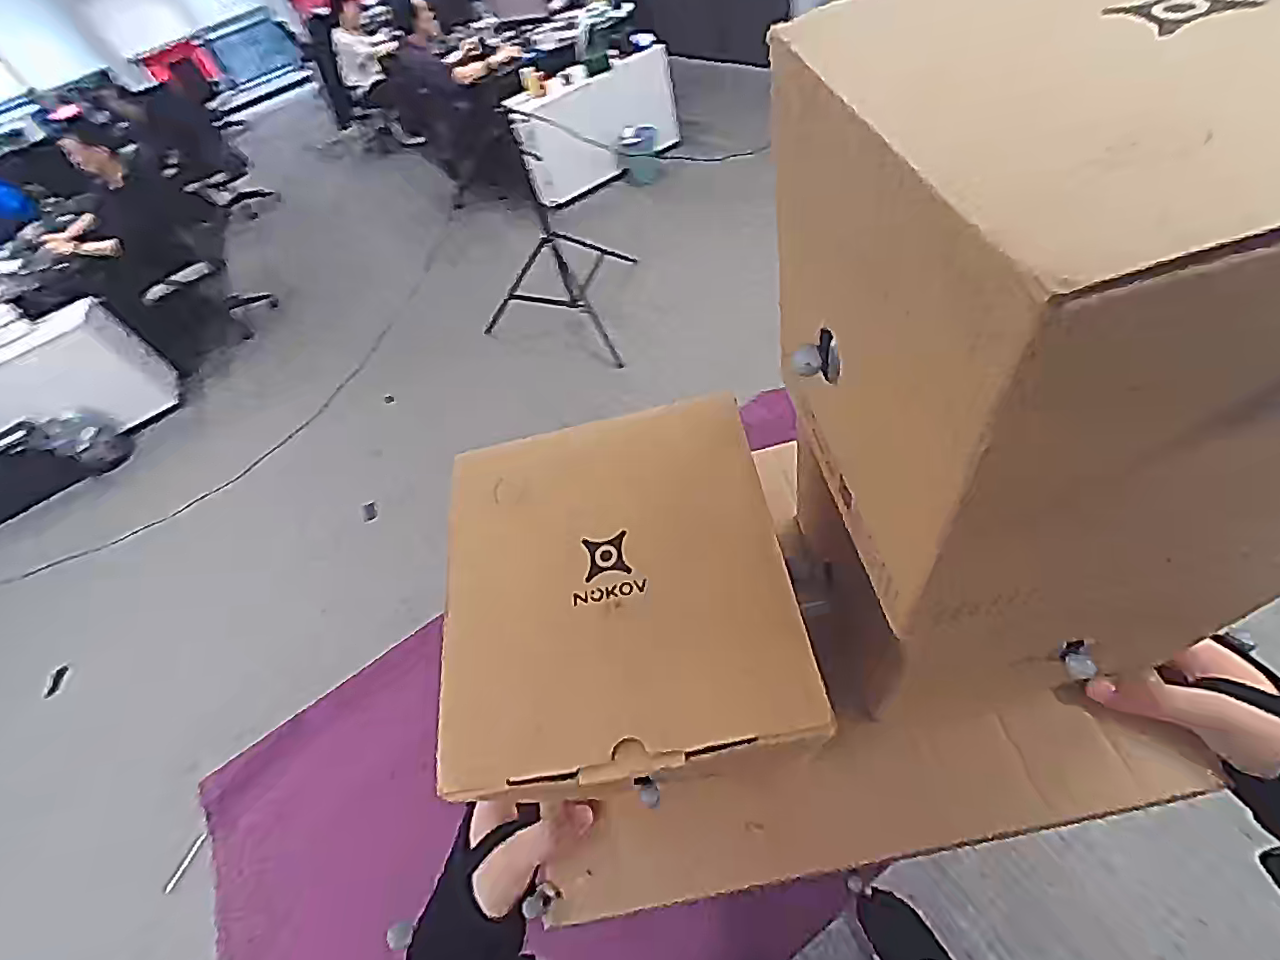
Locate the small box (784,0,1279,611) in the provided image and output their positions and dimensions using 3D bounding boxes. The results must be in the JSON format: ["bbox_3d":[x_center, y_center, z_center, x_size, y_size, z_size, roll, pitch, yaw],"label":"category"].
[{"bbox_3d":[0.160,-0.070,0.189,0.179,0.176,0.168,-13,53,6],"label":"small box"}]
